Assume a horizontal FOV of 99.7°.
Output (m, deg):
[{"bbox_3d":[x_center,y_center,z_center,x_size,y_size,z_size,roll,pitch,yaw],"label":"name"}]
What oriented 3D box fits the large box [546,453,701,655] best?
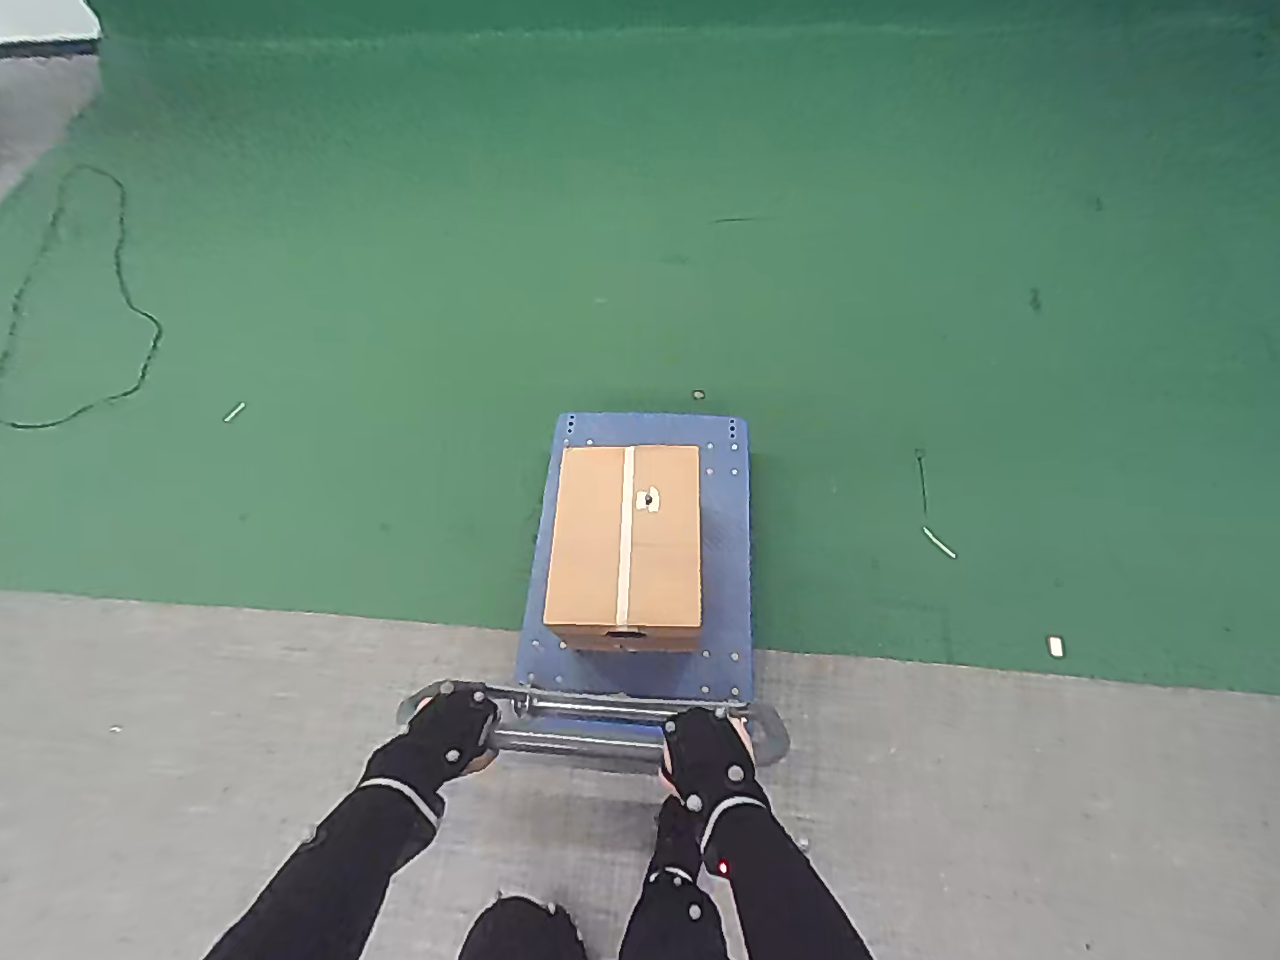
[{"bbox_3d":[-0.019,0.187,1.281,0.320,0.320,0.408,0,64,5],"label":"large box"}]
